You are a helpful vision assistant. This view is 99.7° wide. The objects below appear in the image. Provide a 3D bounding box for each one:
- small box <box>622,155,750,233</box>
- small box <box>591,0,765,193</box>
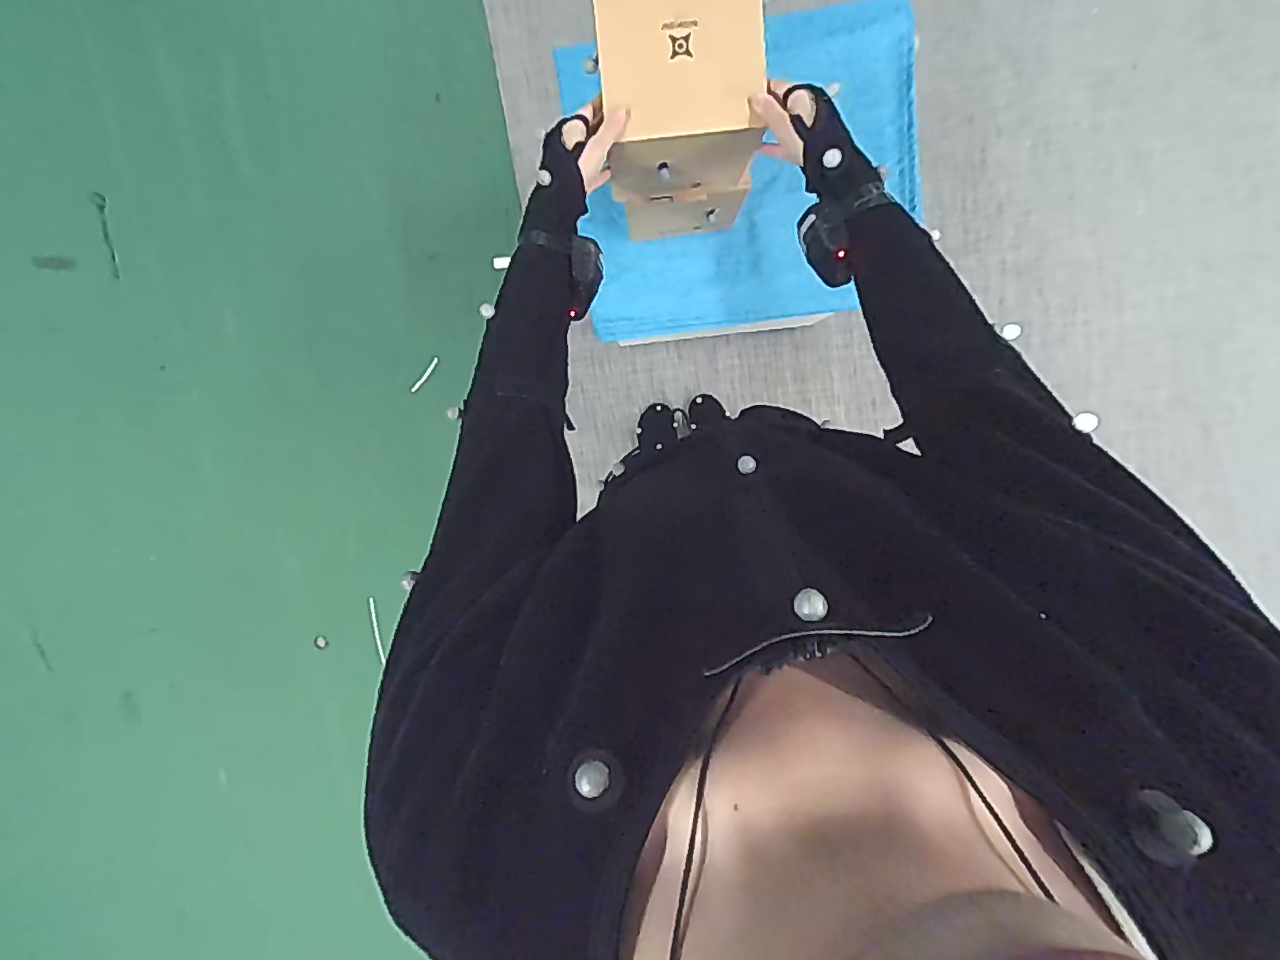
[{"bbox_3d":[0.053,-0.463,0.760,0.168,0.176,0.179,-6,97,1],"label":"small box"},{"bbox_3d":[0.038,-0.439,0.601,0.168,0.176,0.179,-5,97,1],"label":"small box"}]
